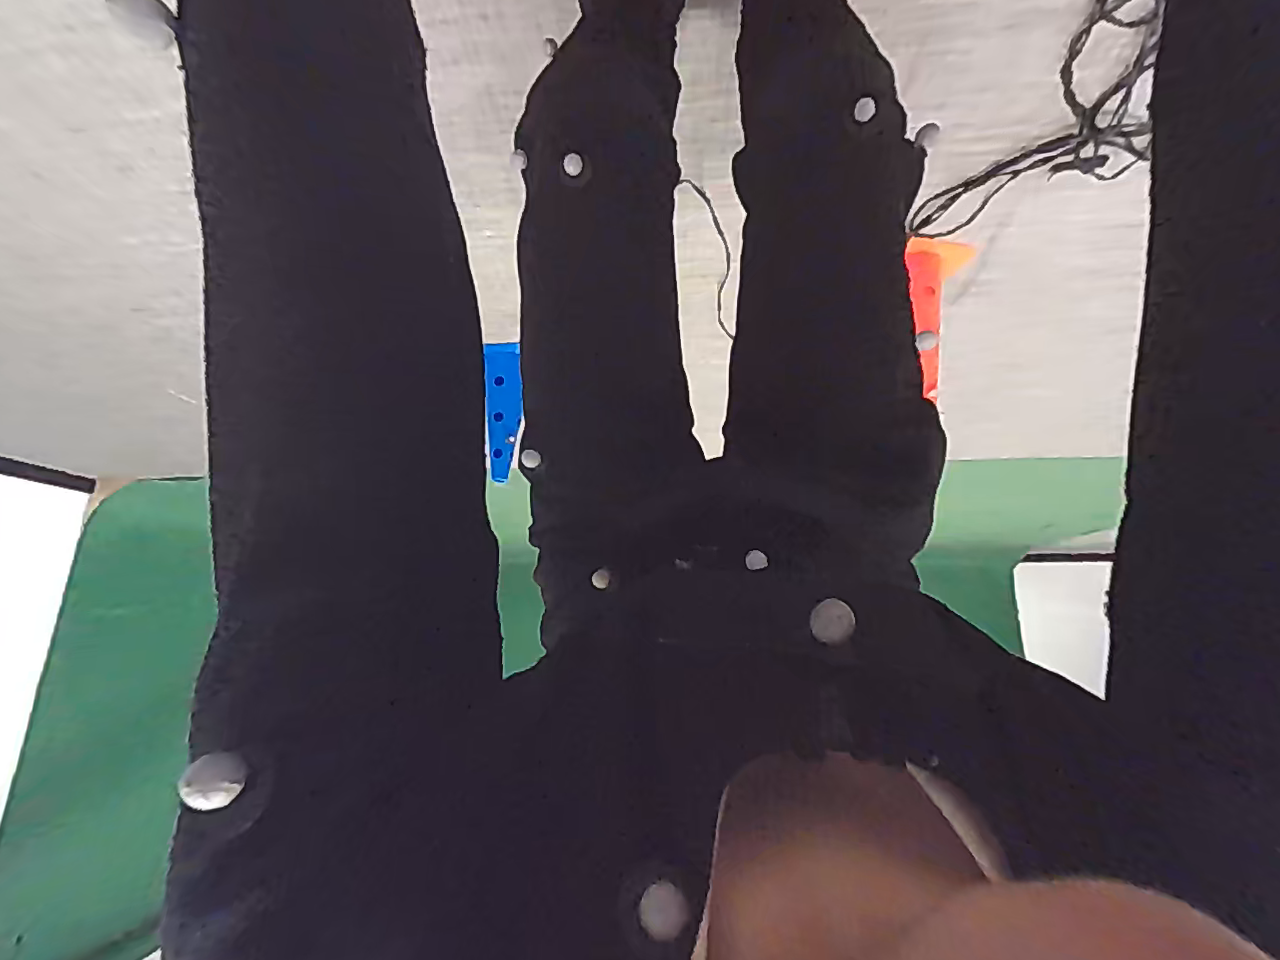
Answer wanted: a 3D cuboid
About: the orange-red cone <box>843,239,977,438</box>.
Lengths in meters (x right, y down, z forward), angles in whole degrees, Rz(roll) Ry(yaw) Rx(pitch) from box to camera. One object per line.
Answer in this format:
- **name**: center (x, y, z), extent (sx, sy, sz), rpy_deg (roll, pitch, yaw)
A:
- **orange-red cone**: center (0.553, -0.258, 1.073), extent (0.199, 0.360, 0.198), rpy_deg (4, 164, -14)
